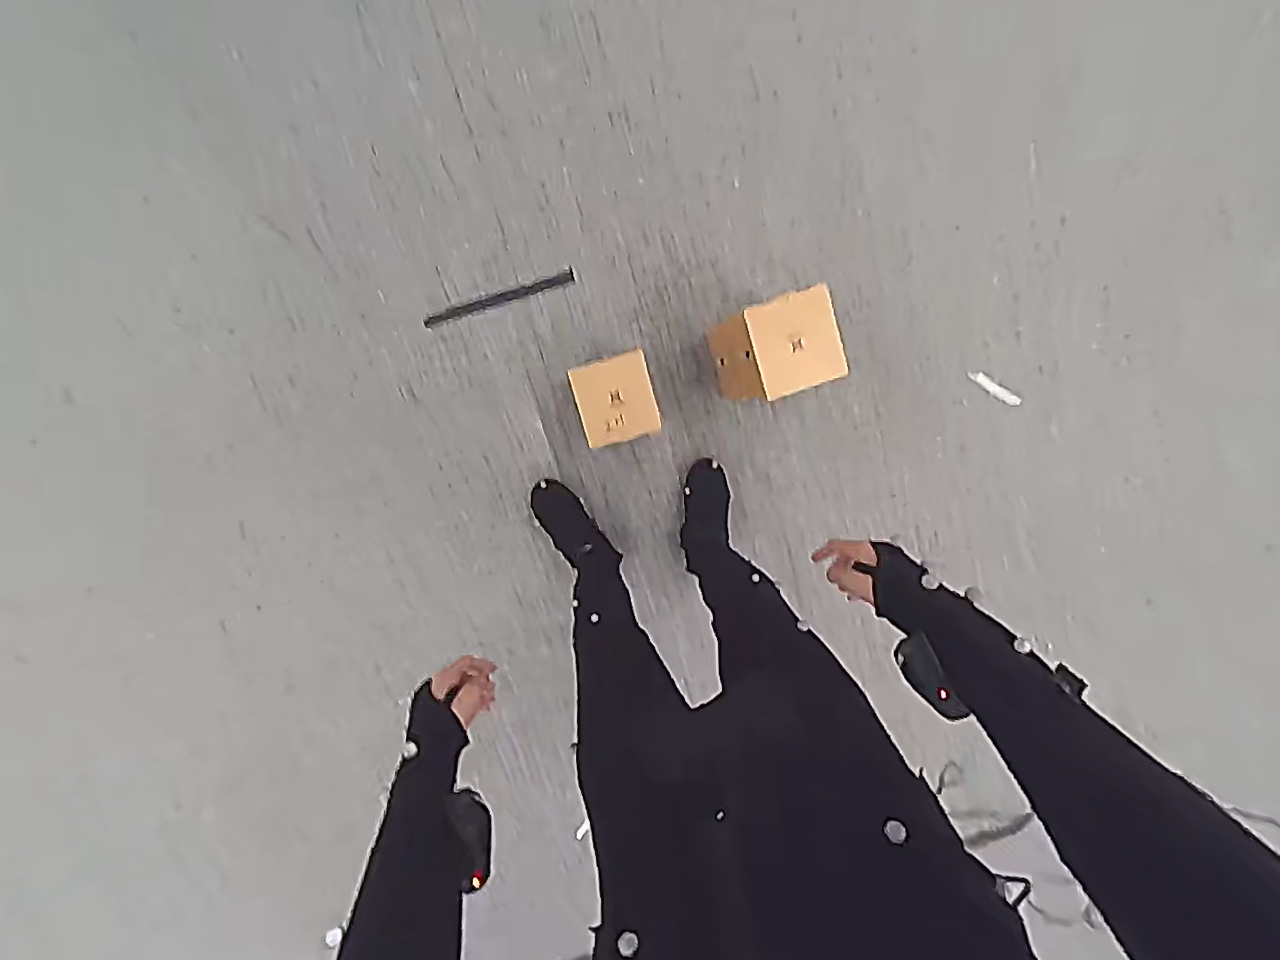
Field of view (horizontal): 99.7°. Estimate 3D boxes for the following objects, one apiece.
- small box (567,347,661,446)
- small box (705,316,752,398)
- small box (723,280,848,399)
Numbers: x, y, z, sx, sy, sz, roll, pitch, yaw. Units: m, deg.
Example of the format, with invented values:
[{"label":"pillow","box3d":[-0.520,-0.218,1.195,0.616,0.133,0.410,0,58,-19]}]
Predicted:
[{"label":"small box","box3d":[-0.062,-0.187,1.210,0.168,0.176,0.179,-16,102,-2]},{"label":"small box","box3d":[0.260,-0.295,1.222,0.168,0.176,0.179,-19,100,-2]},{"label":"small box","box3d":[0.278,-0.268,1.062,0.168,0.176,0.179,-19,100,-2]}]
